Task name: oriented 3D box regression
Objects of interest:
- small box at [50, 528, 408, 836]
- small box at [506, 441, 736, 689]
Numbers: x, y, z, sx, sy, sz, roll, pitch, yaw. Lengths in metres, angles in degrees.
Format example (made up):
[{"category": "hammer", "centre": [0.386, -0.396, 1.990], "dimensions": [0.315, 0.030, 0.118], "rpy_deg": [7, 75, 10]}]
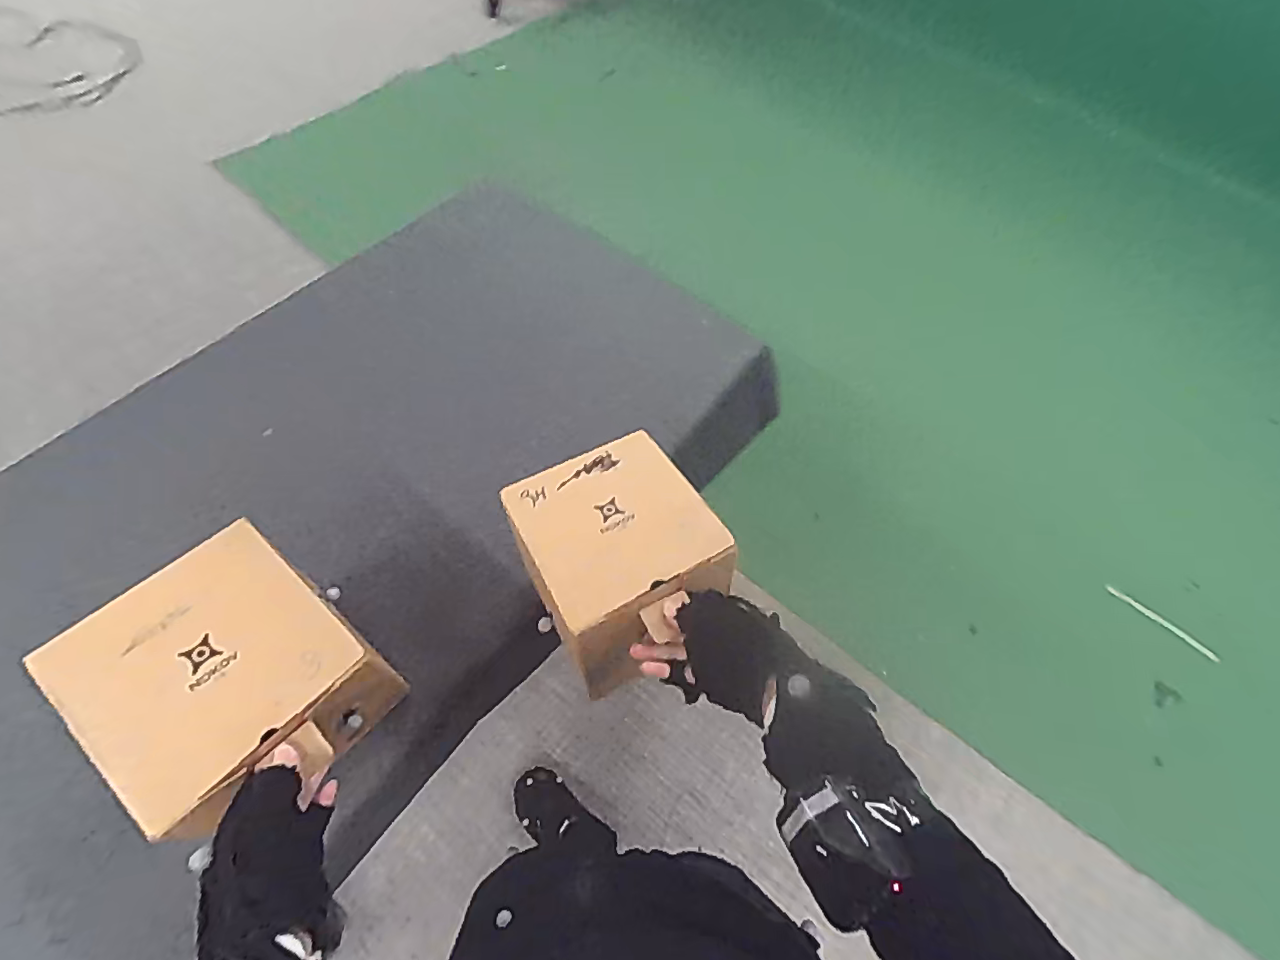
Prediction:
[{"category": "small box", "centre": [-0.342, 0.181, 0.493], "dimensions": [0.179, 0.176, 0.168], "rpy_deg": [40, 60, 14]}, {"category": "small box", "centre": [-0.021, 0.096, 0.571], "dimensions": [0.168, 0.176, 0.179], "rpy_deg": [-23, 54, -17]}]
